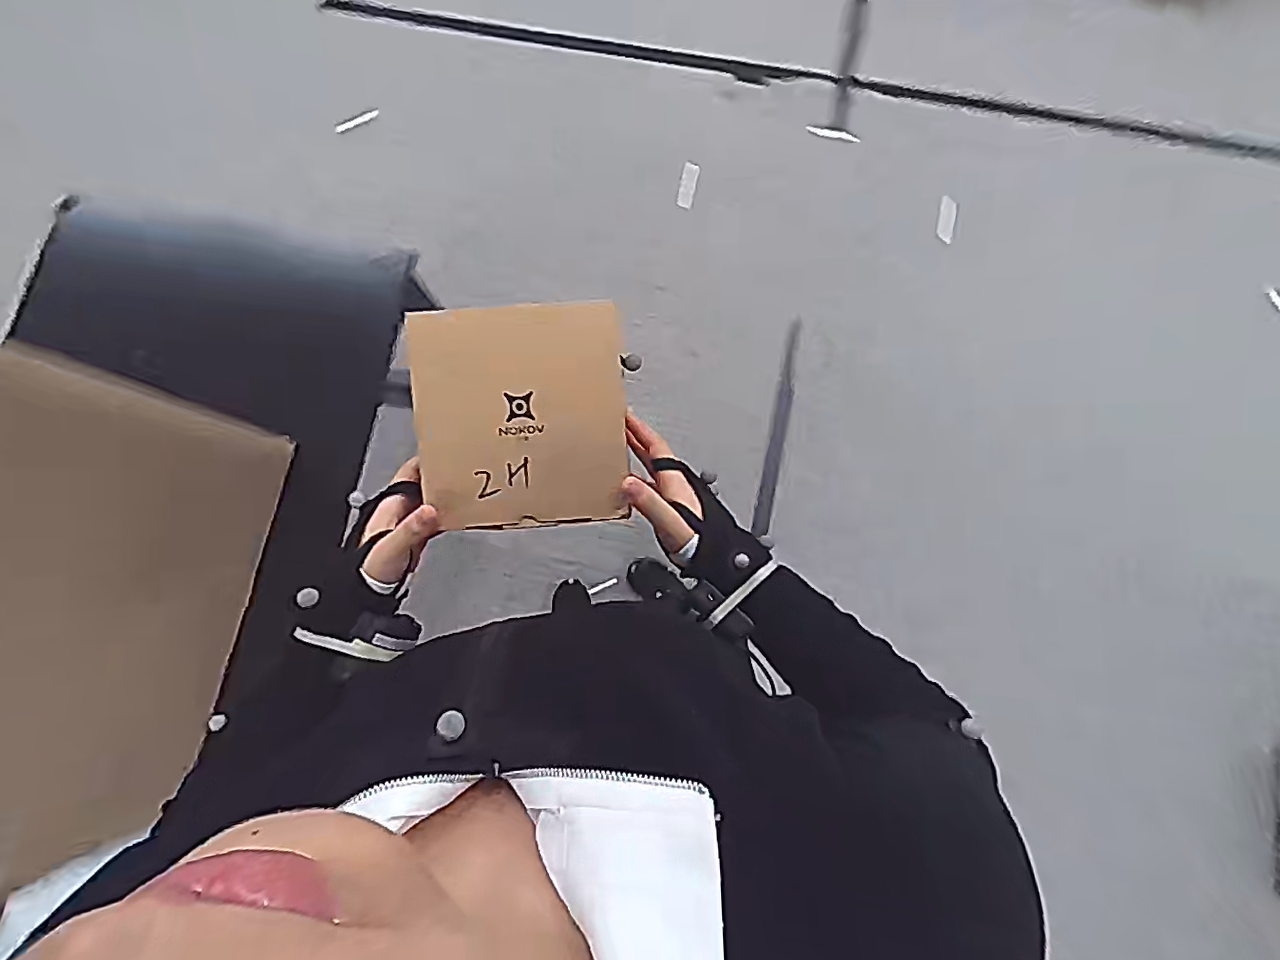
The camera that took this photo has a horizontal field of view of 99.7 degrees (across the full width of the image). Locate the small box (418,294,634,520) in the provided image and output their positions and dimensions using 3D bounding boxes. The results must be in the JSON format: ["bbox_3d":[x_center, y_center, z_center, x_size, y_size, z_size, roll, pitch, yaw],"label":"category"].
[{"bbox_3d":[-0.090,-0.062,0.504,0.168,0.176,0.179,-2,95,0],"label":"small box"}]
